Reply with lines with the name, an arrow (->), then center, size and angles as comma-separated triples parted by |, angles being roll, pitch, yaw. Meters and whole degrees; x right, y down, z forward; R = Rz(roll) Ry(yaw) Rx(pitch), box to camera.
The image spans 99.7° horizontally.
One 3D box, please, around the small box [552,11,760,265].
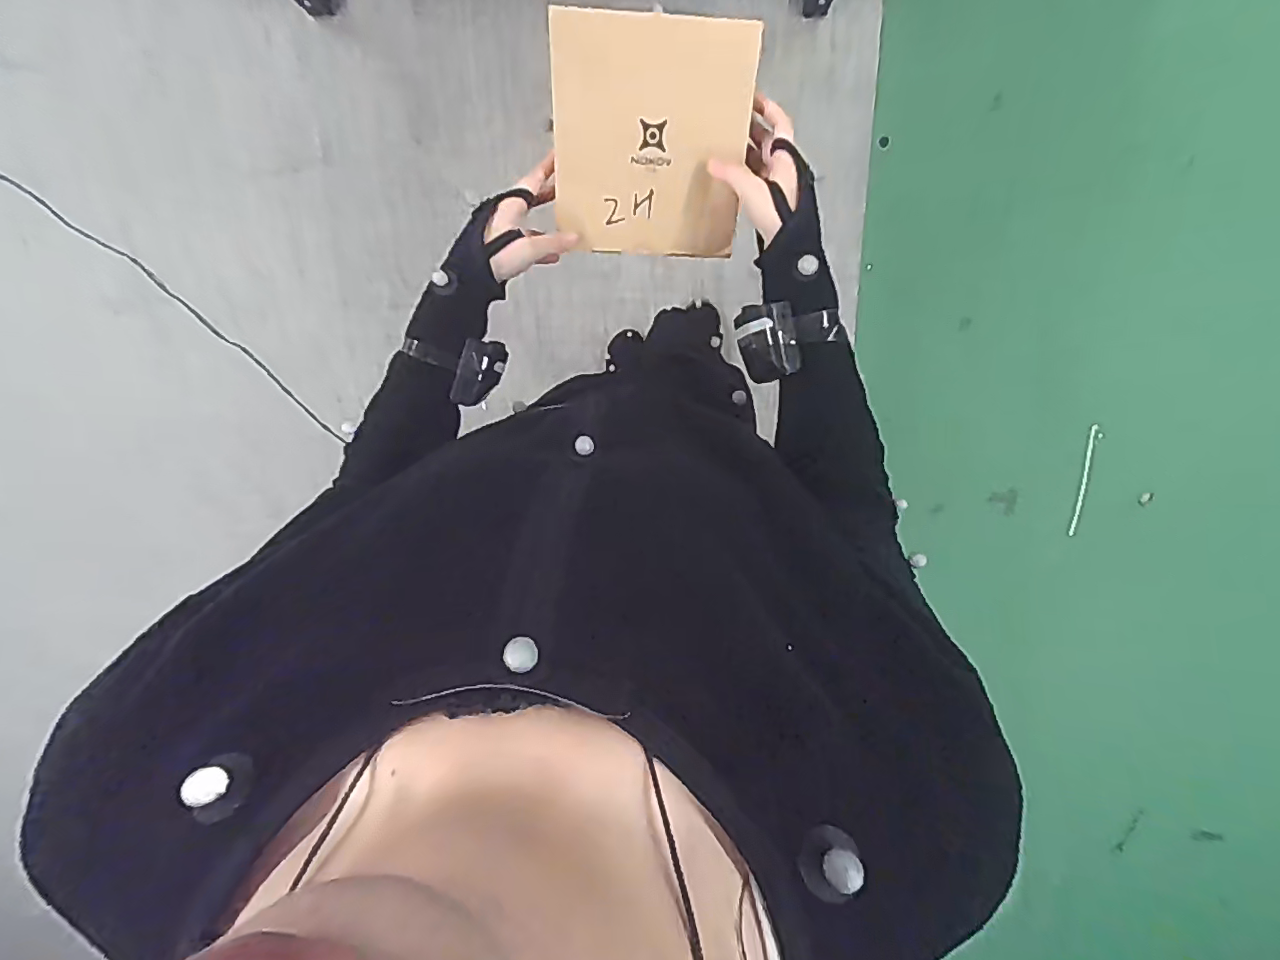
small box -> 0.005, -0.323, 0.524 | 0.168, 0.176, 0.179 | 2, 125, -3
